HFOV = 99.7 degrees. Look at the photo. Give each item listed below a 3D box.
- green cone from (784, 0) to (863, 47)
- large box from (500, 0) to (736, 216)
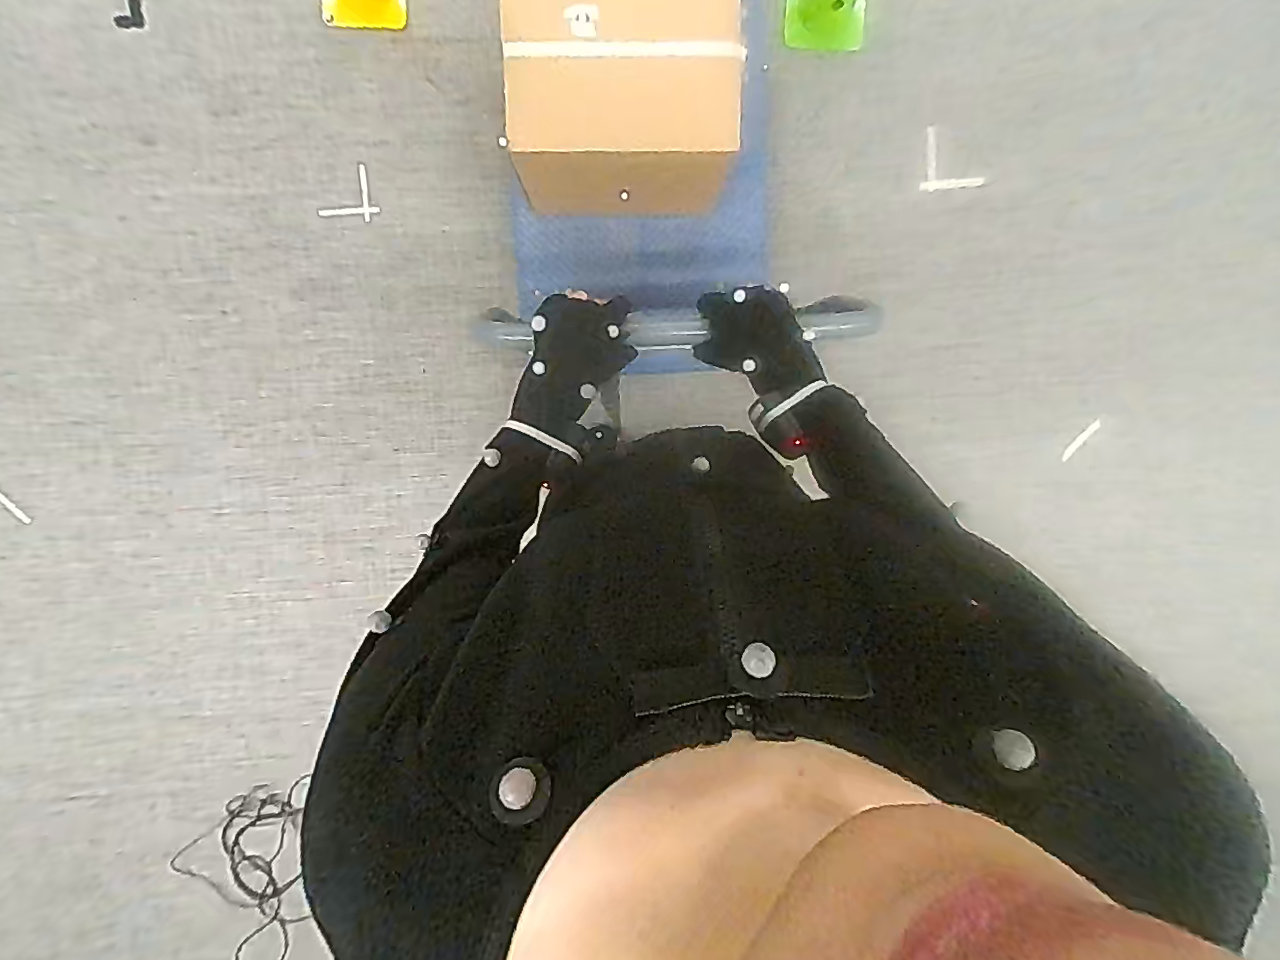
[{"bbox_3d":[0.469,-1.172,1.179,0.202,0.368,0.200,1,97,-3],"label":"green cone"},{"bbox_3d":[-0.035,-0.737,1.070,0.408,0.320,0.320,-1,97,-1],"label":"large box"}]
